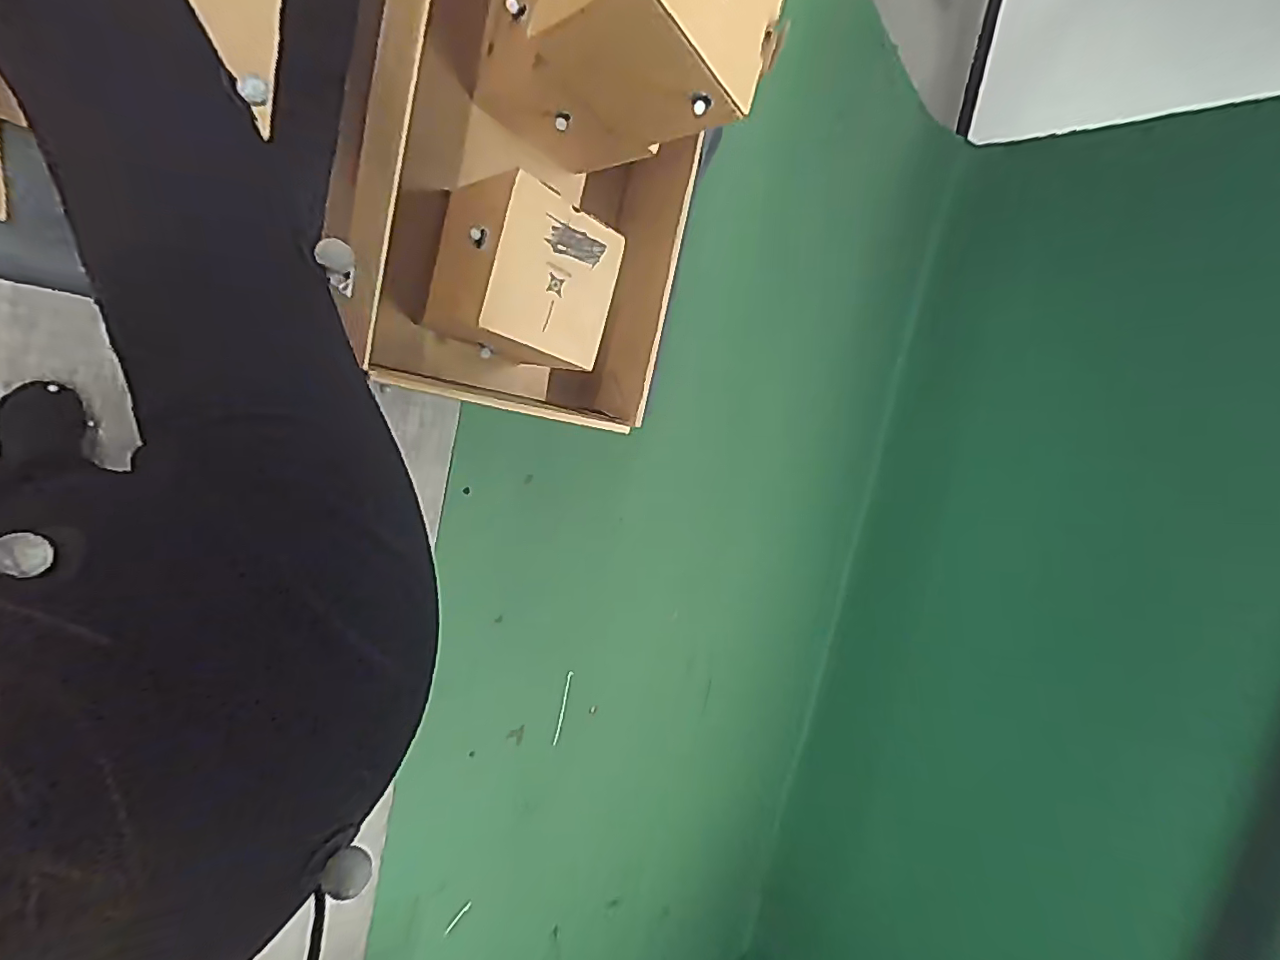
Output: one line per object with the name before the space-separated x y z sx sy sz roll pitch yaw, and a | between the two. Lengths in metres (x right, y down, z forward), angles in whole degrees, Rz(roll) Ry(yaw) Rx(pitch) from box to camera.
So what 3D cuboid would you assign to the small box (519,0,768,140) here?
small box | 0.005 -0.485 0.552 0.179 0.176 0.168 16 92 -48
